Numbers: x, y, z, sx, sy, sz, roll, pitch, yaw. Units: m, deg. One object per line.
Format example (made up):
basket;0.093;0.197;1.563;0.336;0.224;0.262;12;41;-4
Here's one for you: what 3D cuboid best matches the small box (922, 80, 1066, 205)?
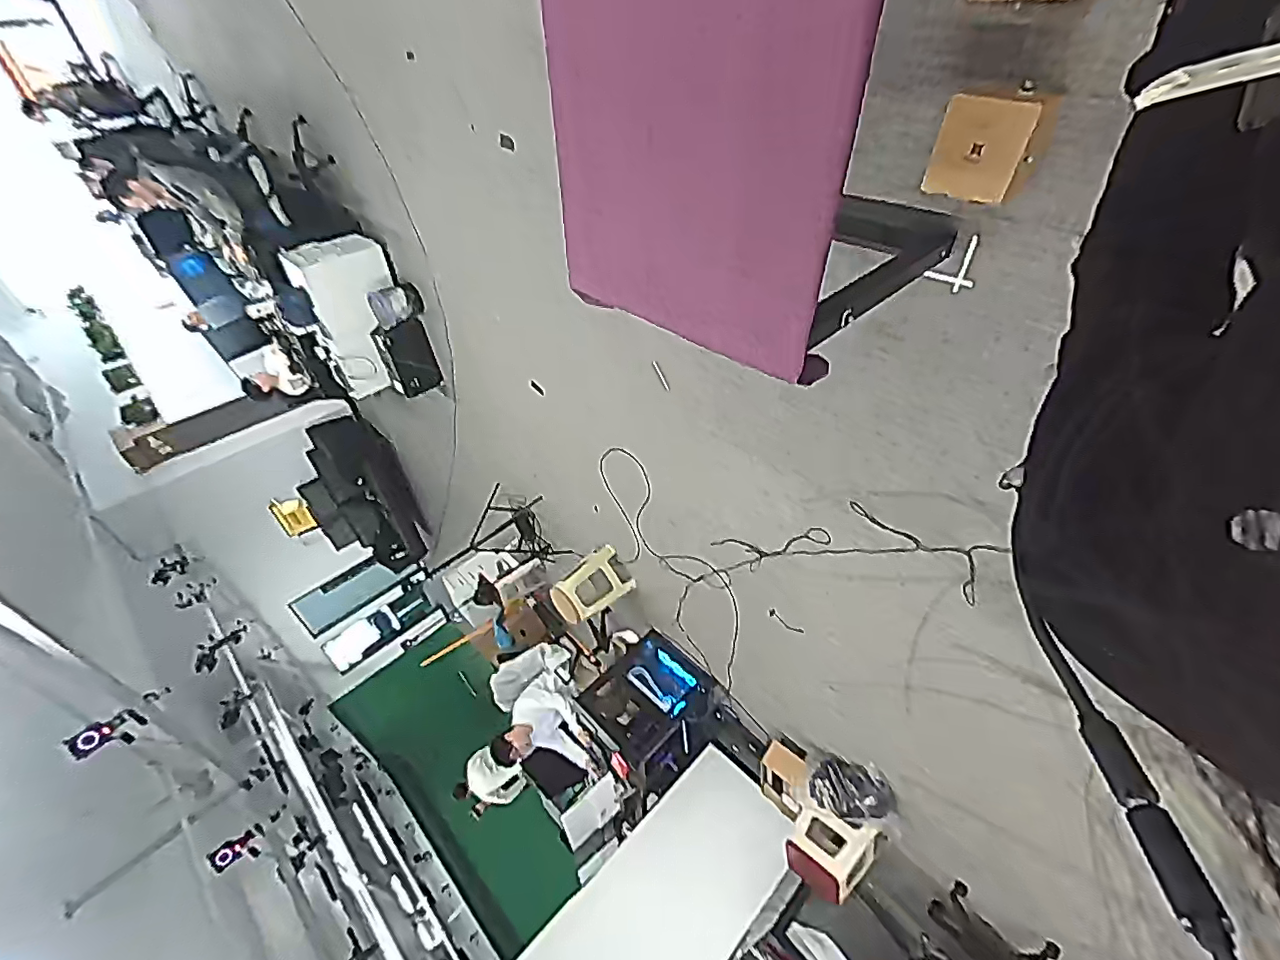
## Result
small box;0.722;-0.693;1.104;0.168;0.176;0.179;35;143;29
